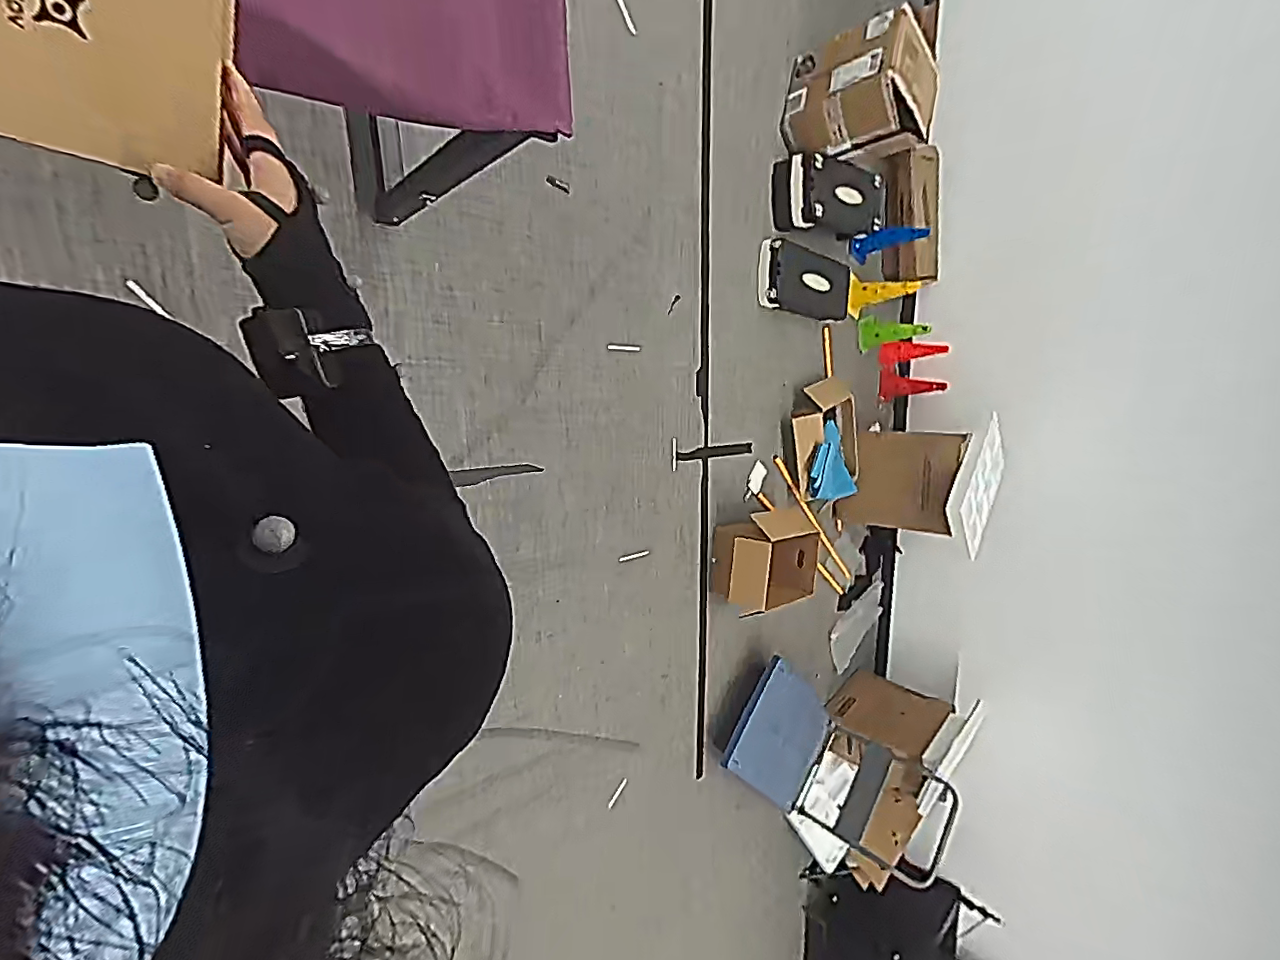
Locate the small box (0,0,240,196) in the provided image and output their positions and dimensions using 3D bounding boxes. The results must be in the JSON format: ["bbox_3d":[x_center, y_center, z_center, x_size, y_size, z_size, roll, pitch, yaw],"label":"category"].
[{"bbox_3d":[-0.402,-0.323,0.390,0.179,0.176,0.168,3,111,-37],"label":"small box"}]
